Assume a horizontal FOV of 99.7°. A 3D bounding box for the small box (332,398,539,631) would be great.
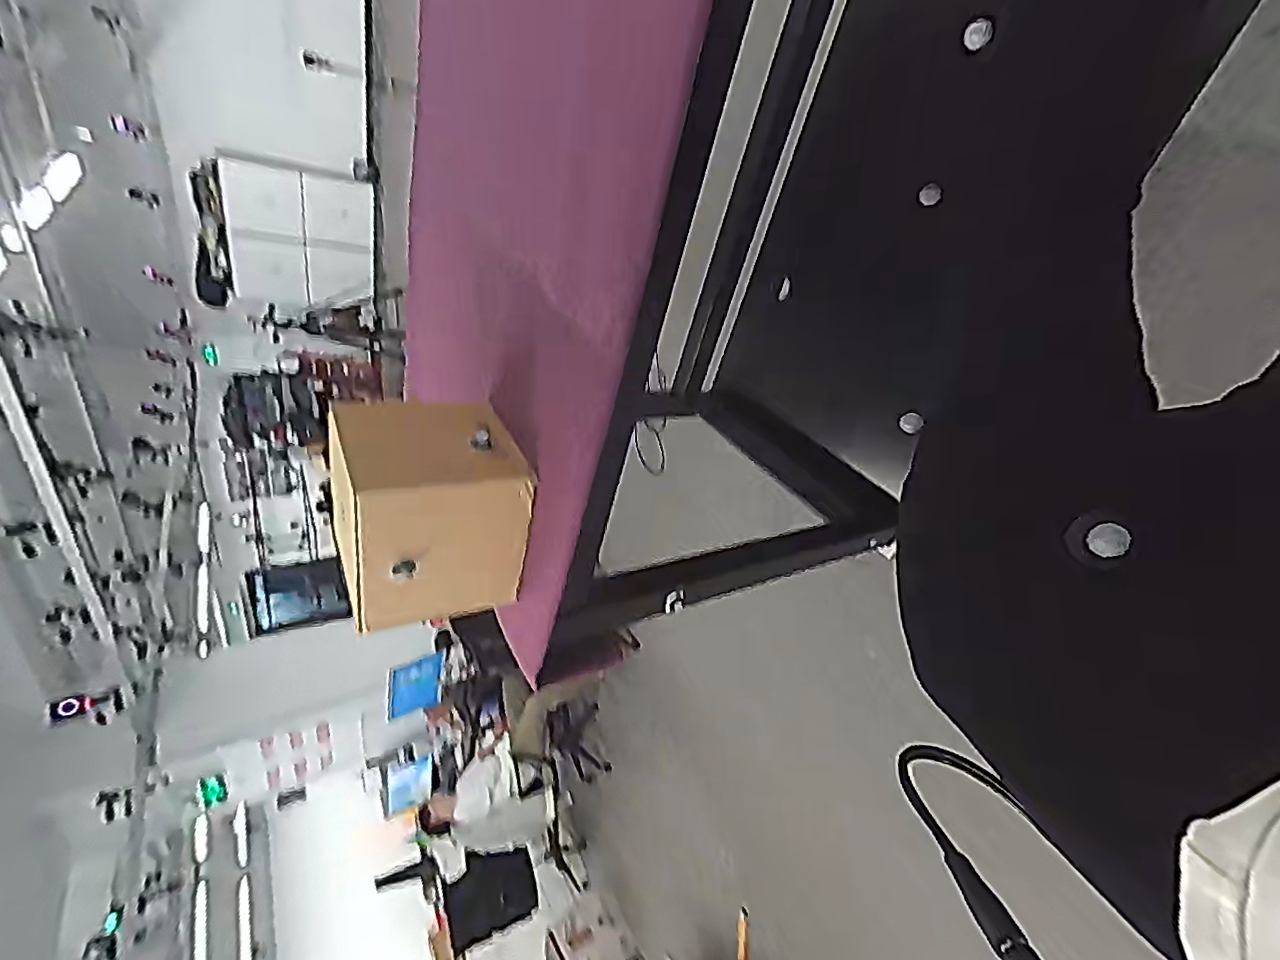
[{"bbox_3d":[-0.220,0.027,0.575,0.168,0.176,0.179,47,131,41],"label":"small box"}]
